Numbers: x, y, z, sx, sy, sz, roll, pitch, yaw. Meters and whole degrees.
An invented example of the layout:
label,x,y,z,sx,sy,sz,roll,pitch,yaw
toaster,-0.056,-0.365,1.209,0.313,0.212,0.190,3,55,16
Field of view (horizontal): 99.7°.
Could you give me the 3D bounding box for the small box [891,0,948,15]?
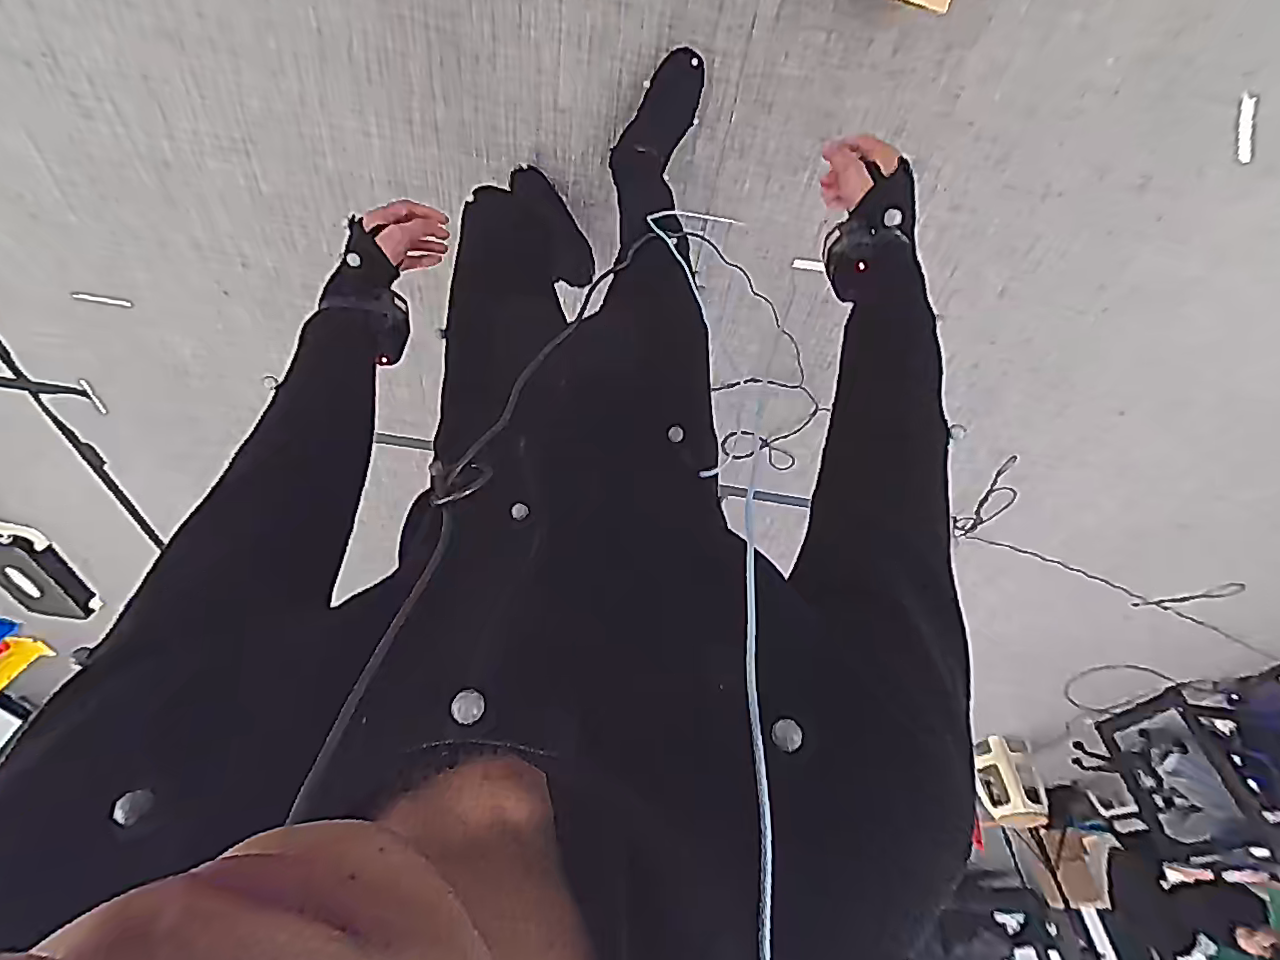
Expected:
label,x,y,z,sx,sy,sz,roll,pitch,yaw
small box,0.450,-0.911,0.893,0.168,0.176,0.179,10,135,-8
